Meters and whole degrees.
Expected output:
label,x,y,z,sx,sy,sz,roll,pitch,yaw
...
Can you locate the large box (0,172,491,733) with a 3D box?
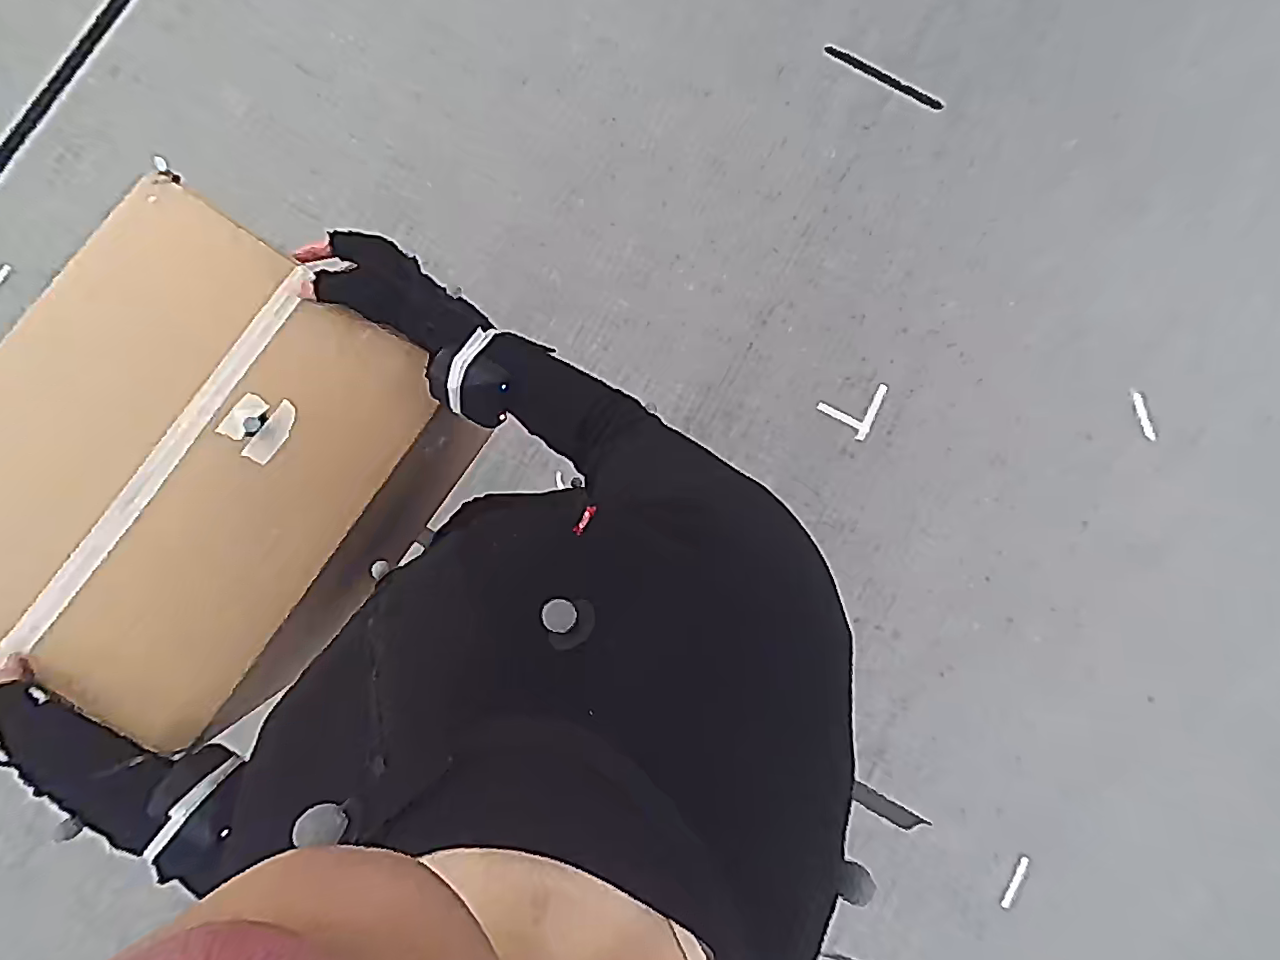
label,x,y,z,sx,sy,sz,roll,pitch,yaw
large box,-0.423,-0.019,0.616,0.320,0.320,0.408,34,82,-7
